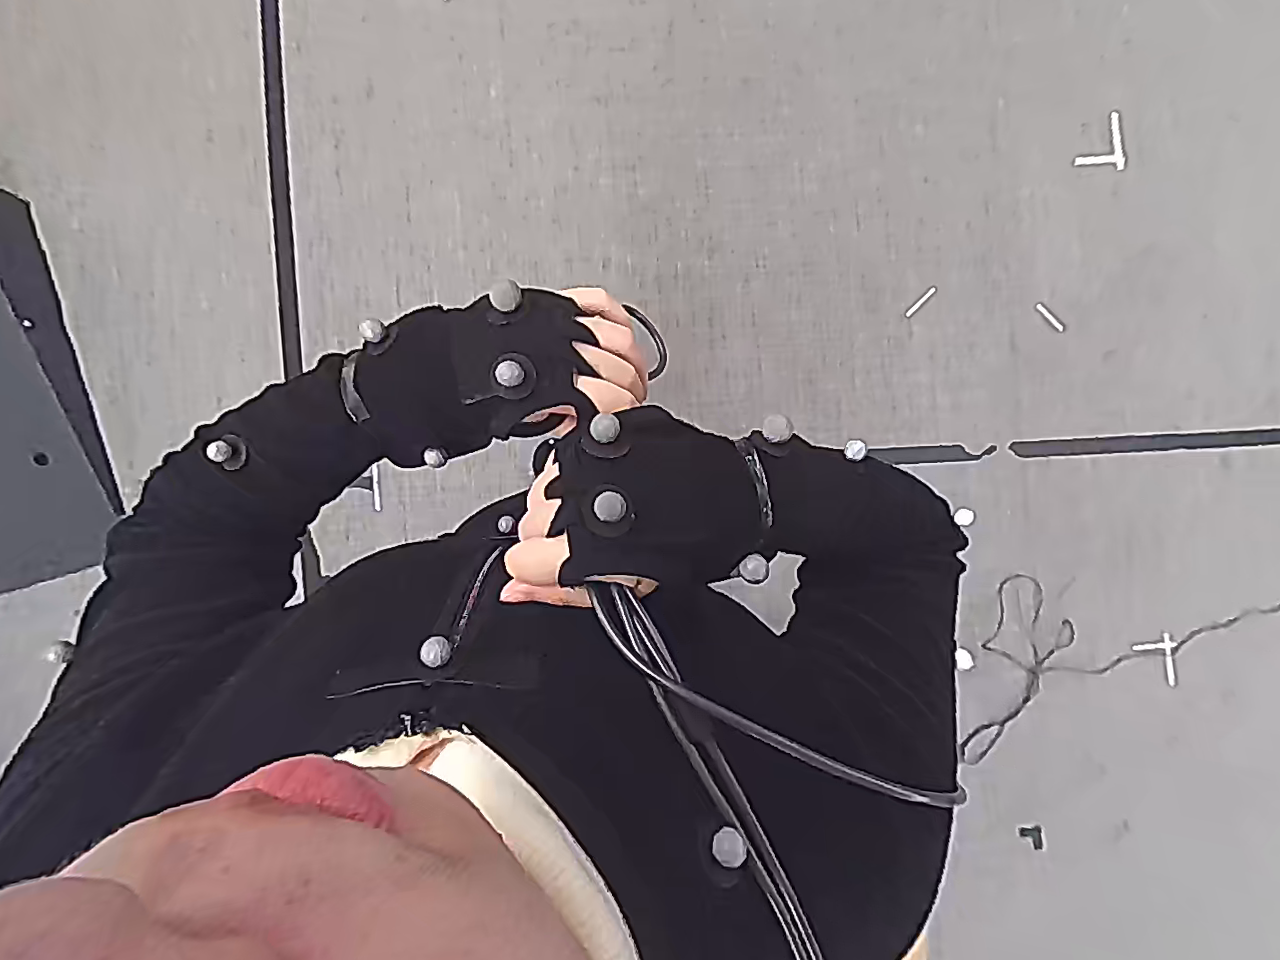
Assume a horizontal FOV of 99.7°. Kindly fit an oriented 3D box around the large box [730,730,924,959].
[{"bbox_3d":[0.387,0.818,1.196,0.320,0.320,0.408,3,90,-3],"label":"large box"}]
